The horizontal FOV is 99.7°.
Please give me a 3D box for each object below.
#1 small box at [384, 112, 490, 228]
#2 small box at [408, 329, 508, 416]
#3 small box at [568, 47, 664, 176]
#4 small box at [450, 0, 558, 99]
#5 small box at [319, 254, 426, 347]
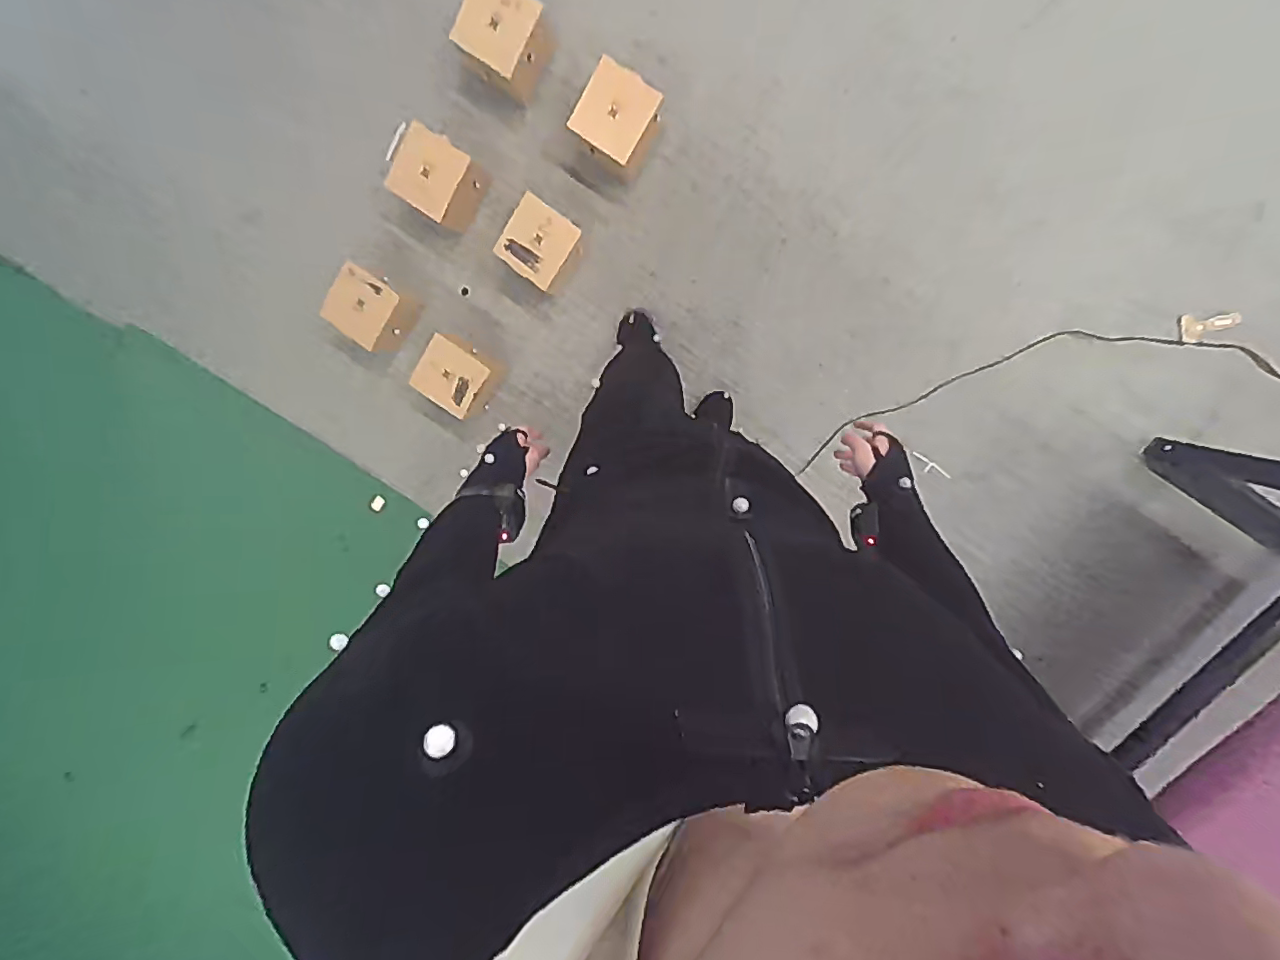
[{"bbox_3d":[-0.508,-0.781,1.386,0.168,0.176,0.179,34,105,-4],"label":"small box"},{"bbox_3d":[-0.497,-0.303,1.506,0.179,0.176,0.168,35,104,-4],"label":"small box"},{"bbox_3d":[-0.049,-0.886,1.325,0.168,0.176,0.179,33,103,-4],"label":"small box"},{"bbox_3d":[-0.316,-1.069,1.295,0.168,0.176,0.179,33,104,-5],"label":"small box"},{"bbox_3d":[-0.722,-0.484,1.478,0.168,0.176,0.179,37,105,-5],"label":"small box"}]
